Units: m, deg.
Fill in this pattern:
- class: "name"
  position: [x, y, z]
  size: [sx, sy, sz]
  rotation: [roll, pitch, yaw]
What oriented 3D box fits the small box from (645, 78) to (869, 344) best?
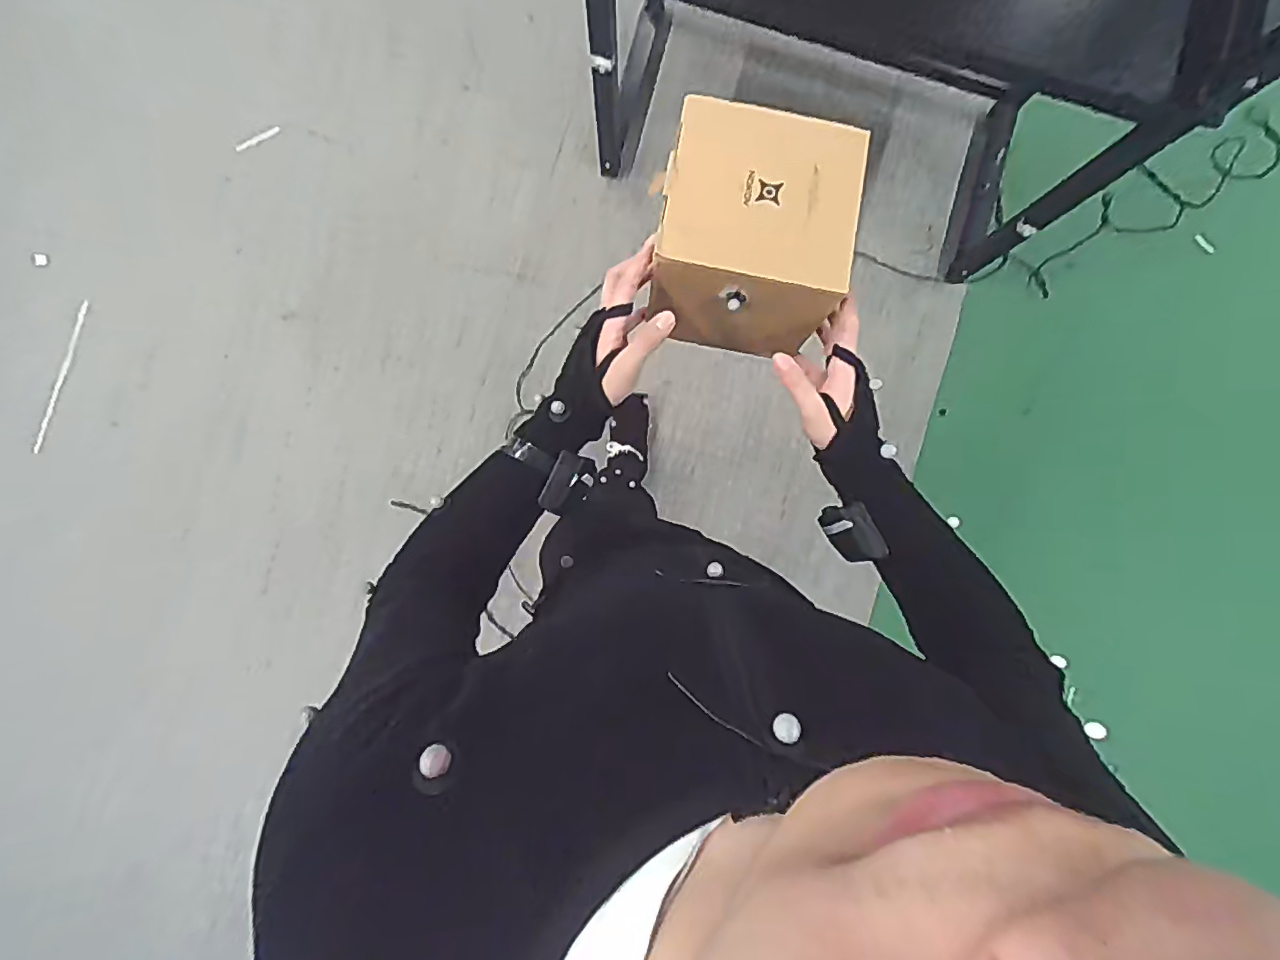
- class: "small box"
  position: [0.105, -0.259, 0.560]
  size: [0.179, 0.176, 0.168]
  rotation: [12, 81, -1]
